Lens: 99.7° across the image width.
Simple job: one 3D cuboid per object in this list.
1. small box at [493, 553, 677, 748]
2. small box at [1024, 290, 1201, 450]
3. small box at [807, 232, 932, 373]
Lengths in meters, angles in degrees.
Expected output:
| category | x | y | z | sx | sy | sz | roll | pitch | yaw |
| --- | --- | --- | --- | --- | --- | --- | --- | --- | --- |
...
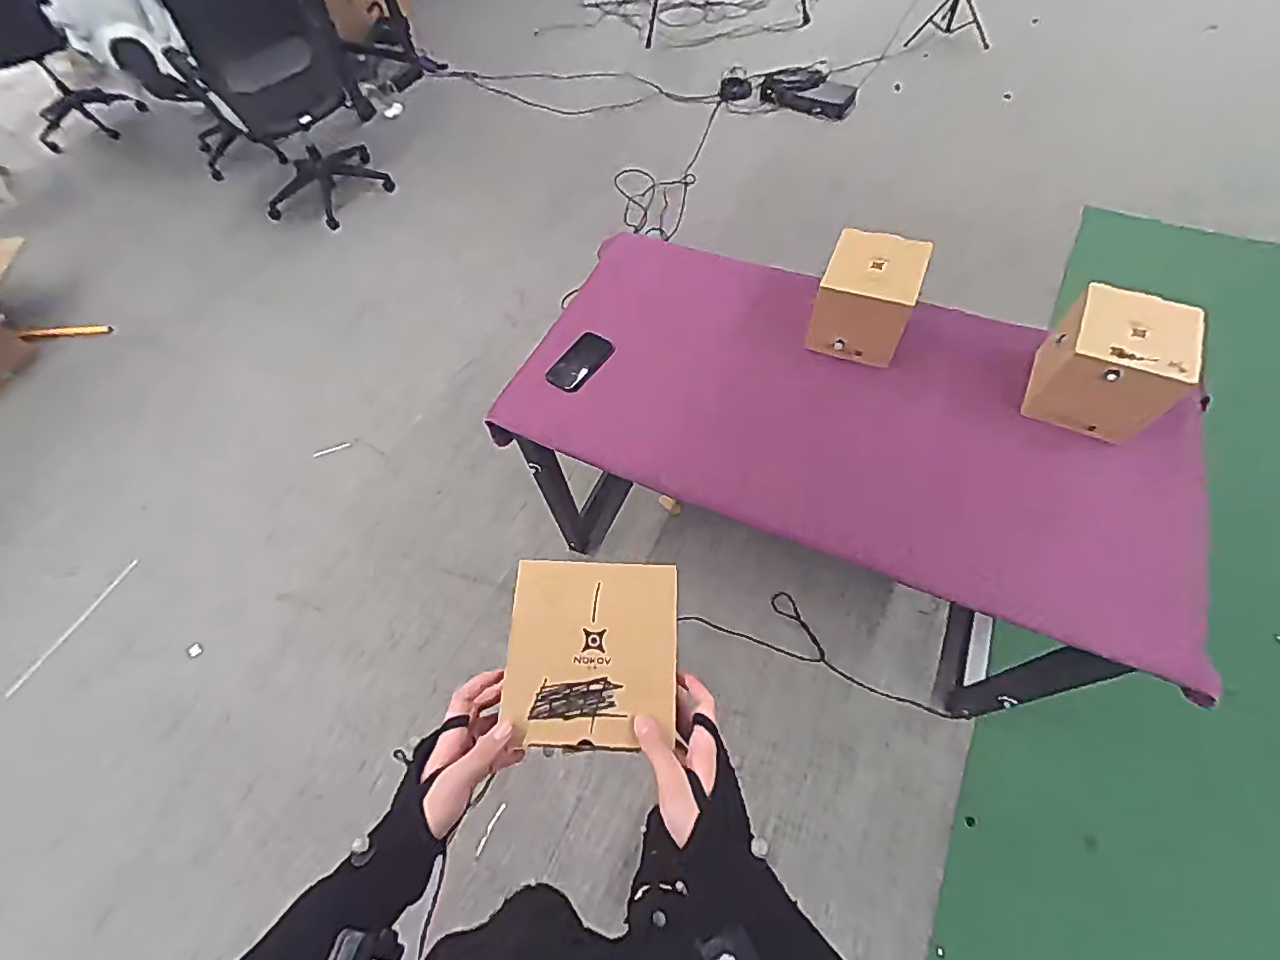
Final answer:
| category | x | y | z | sx | sy | sz | roll | pitch | yaw |
| --- | --- | --- | --- | --- | --- | --- | --- | --- | --- |
| small box | -0.049 | 0.191 | 0.594 | 0.168 | 0.176 | 0.179 | 3 | 65 | 0 |
| small box | 0.797 | -0.185 | 0.927 | 0.168 | 0.176 | 0.179 | 23 | 64 | 18 |
| small box | 0.439 | -0.343 | 1.053 | 0.168 | 0.176 | 0.179 | 20 | 64 | 17 |
